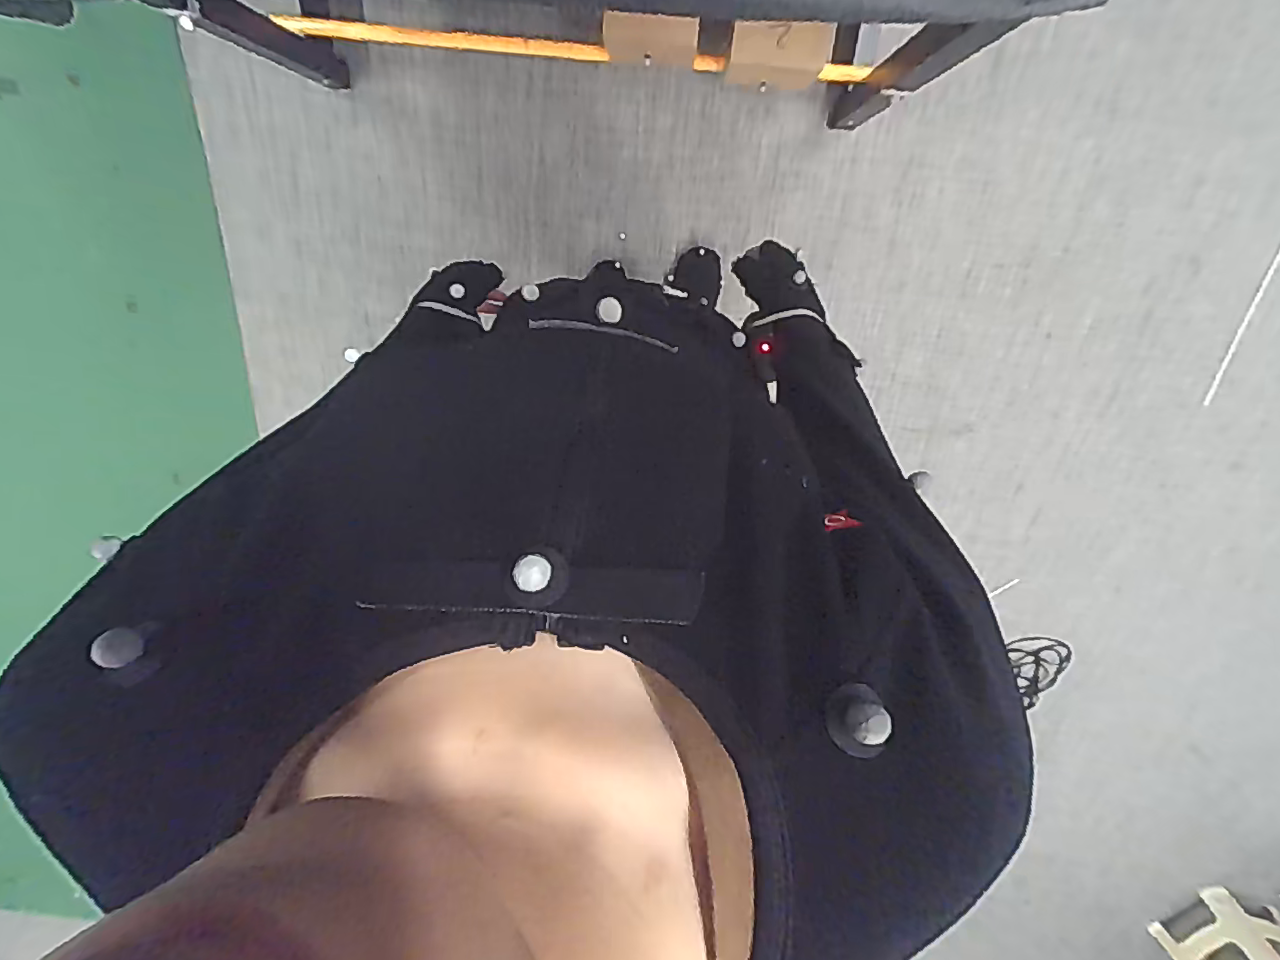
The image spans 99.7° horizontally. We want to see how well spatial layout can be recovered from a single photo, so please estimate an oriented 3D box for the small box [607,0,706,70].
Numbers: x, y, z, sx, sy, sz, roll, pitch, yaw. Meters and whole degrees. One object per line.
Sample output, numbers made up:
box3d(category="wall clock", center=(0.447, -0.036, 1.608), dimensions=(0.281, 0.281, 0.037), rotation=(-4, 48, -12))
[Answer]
box3d(category="small box", center=(0.035, -0.862, 0.967), dimensions=(0.168, 0.176, 0.179), rotation=(5, 114, 1))
